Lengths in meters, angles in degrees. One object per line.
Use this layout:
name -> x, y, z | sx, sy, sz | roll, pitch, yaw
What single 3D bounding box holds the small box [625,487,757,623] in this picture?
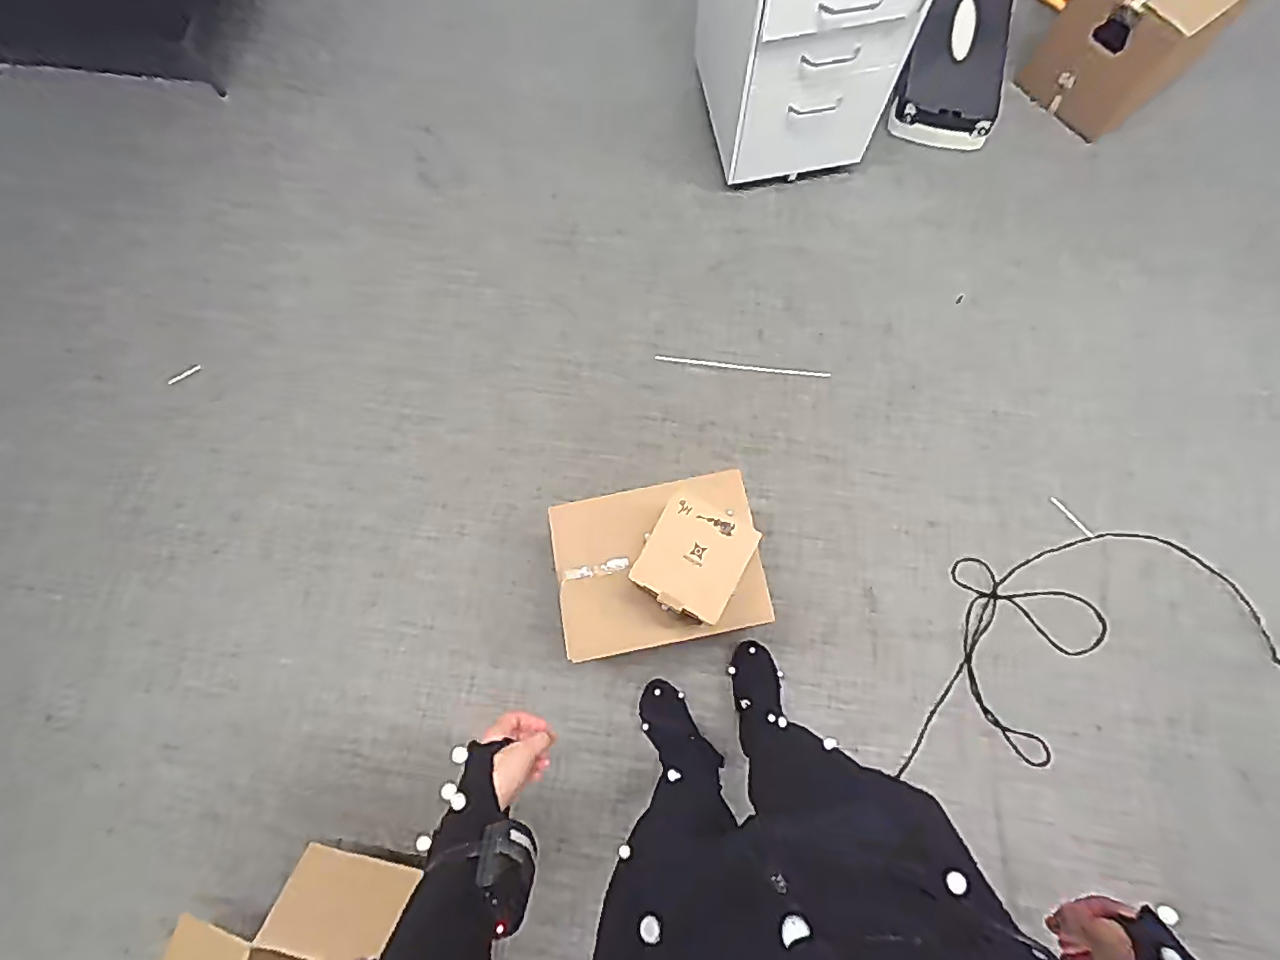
small box -> 0.091, 0.139, 0.981 | 0.168, 0.176, 0.179 | 29, 80, 8
